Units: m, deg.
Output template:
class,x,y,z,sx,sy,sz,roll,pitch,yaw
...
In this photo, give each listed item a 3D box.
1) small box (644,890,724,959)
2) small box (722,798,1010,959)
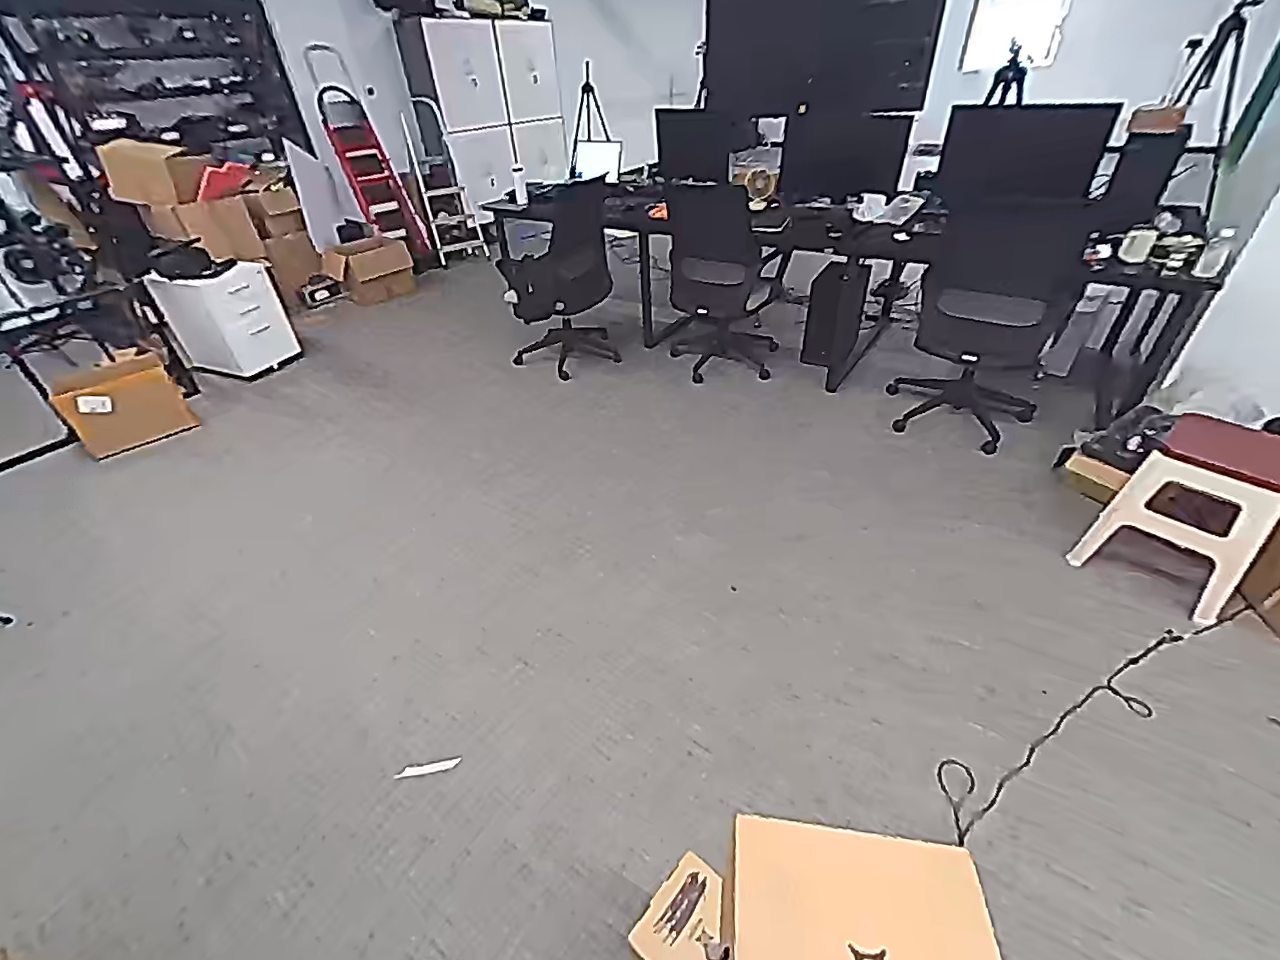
class,x,y,z,sx,sy,sz,roll,pitch,yaw
small box,0.107,0.912,0.982,0.168,0.176,0.179,26,47,34
small box,0.143,0.359,0.373,0.168,0.176,0.179,4,38,9
